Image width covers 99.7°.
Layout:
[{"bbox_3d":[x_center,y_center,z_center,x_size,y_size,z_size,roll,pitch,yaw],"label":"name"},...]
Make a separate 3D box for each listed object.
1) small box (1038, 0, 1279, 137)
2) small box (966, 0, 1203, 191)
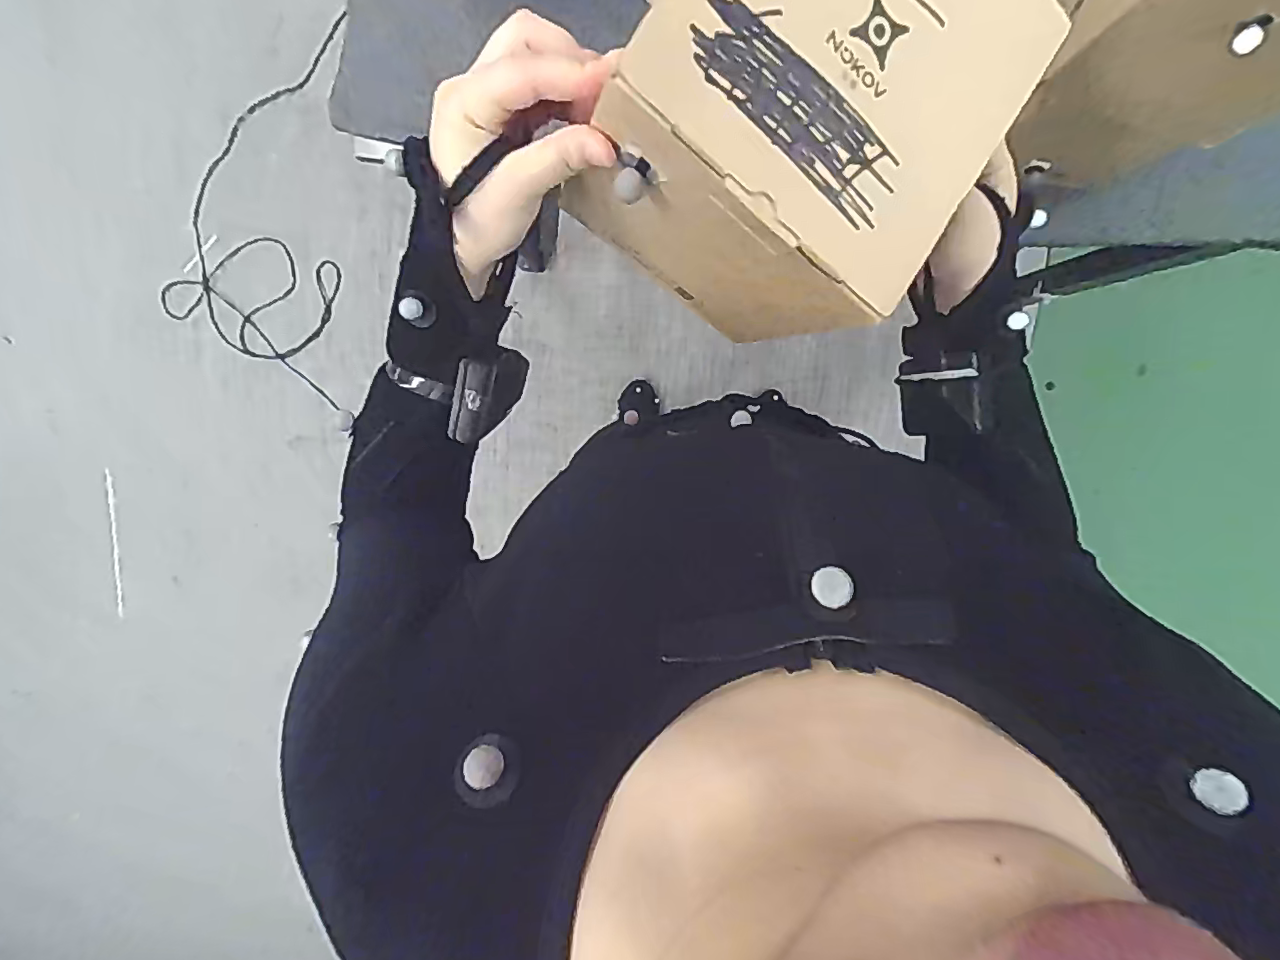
[{"bbox_3d":[0.467,-0.399,0.412,0.179,0.176,0.168,19,99,2],"label":"small box"},{"bbox_3d":[0.480,-0.437,0.570,0.168,0.176,0.179,9,99,3],"label":"small box"}]
